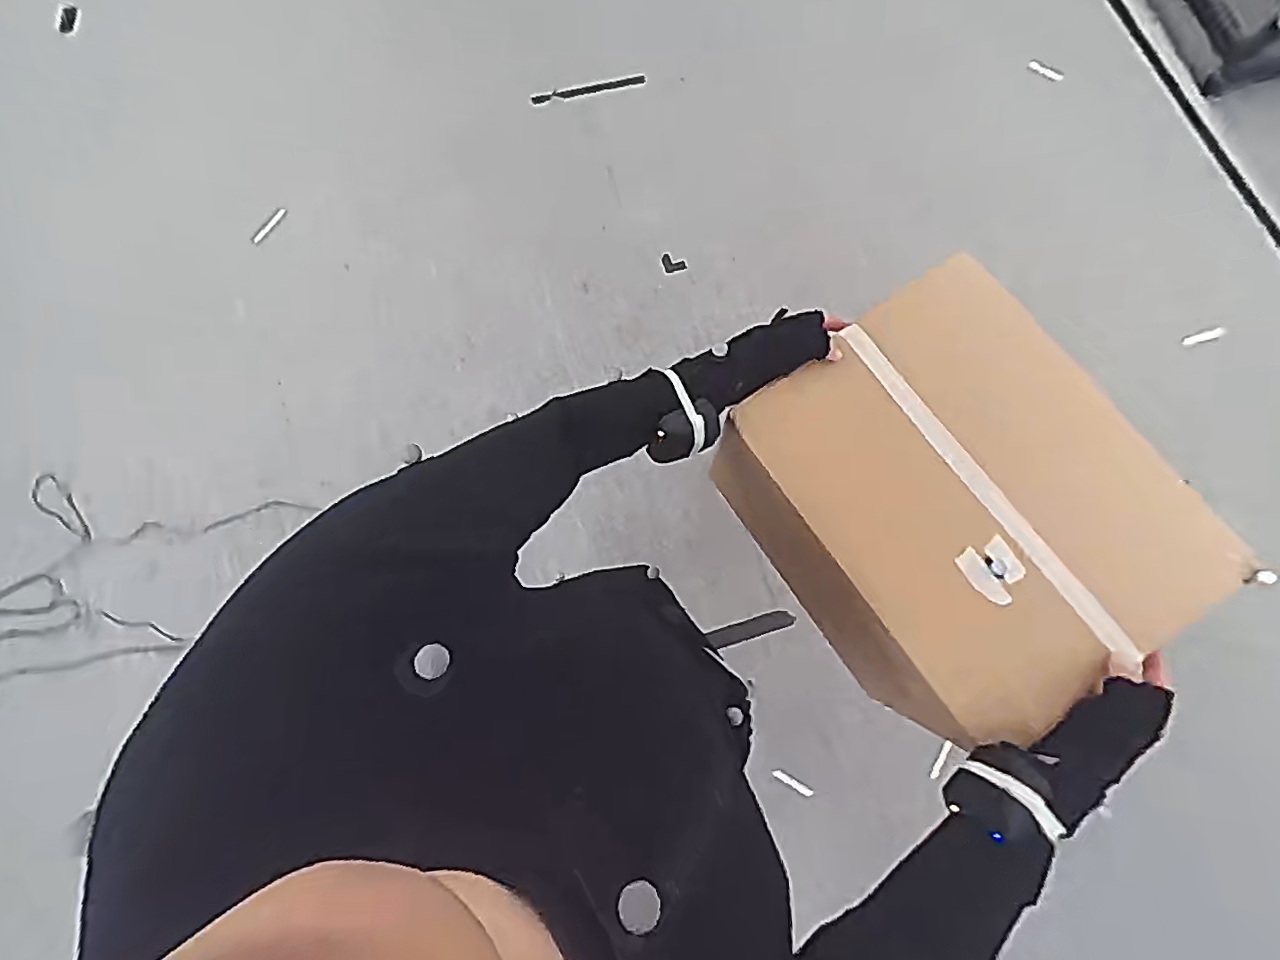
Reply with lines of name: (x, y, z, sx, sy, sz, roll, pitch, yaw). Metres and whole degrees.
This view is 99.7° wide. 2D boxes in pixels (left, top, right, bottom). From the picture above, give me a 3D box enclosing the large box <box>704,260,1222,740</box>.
large box: (0.331, 0.025, 0.689, 0.320, 0.320, 0.408, -35, 81, -3)
